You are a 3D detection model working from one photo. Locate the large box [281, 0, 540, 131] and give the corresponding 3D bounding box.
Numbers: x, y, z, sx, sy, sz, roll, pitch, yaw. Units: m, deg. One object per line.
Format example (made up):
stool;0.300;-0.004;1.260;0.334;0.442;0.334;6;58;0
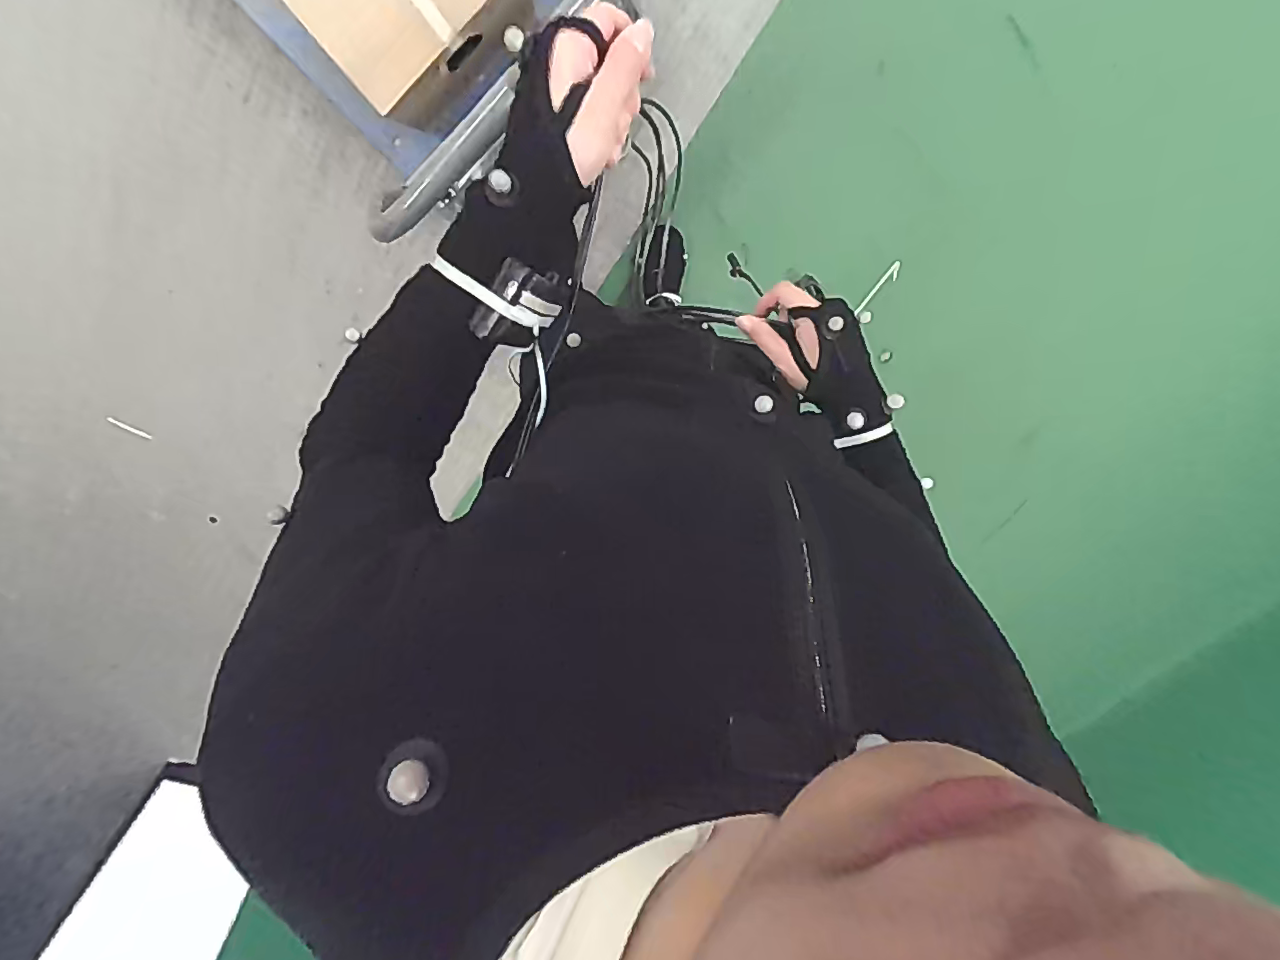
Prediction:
large box;-0.416;-0.855;0.857;0.320;0.320;0.408;-37;116;13
